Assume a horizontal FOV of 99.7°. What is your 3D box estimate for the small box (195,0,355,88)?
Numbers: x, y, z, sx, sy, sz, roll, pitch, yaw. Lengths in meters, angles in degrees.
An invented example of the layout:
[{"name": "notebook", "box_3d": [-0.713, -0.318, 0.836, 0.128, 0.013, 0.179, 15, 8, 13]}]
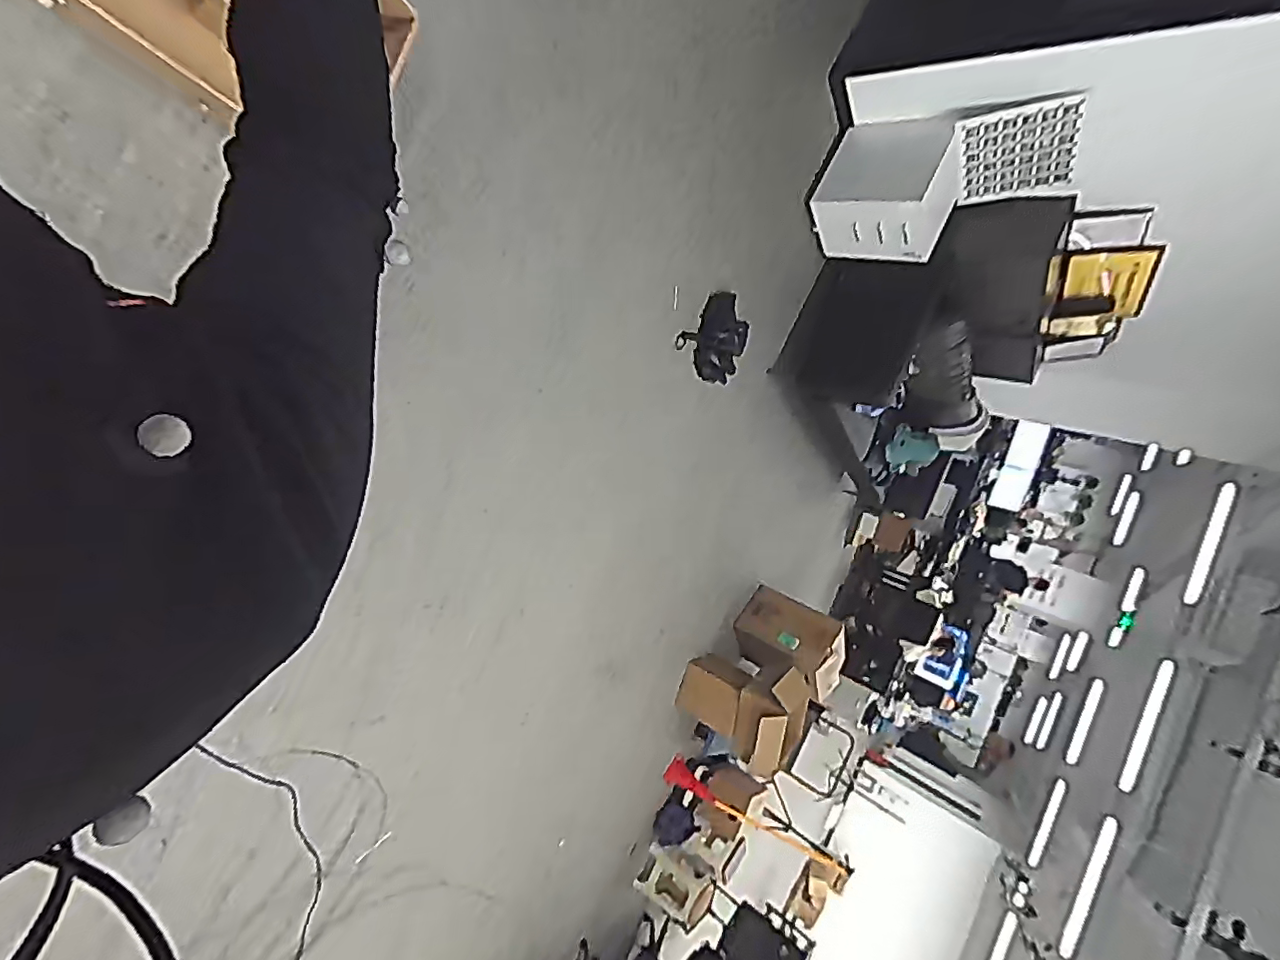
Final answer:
[{"name": "small box", "box_3d": [-0.677, -0.870, 1.001, 0.179, 0.176, 0.168, 28, 85, -53]}]
